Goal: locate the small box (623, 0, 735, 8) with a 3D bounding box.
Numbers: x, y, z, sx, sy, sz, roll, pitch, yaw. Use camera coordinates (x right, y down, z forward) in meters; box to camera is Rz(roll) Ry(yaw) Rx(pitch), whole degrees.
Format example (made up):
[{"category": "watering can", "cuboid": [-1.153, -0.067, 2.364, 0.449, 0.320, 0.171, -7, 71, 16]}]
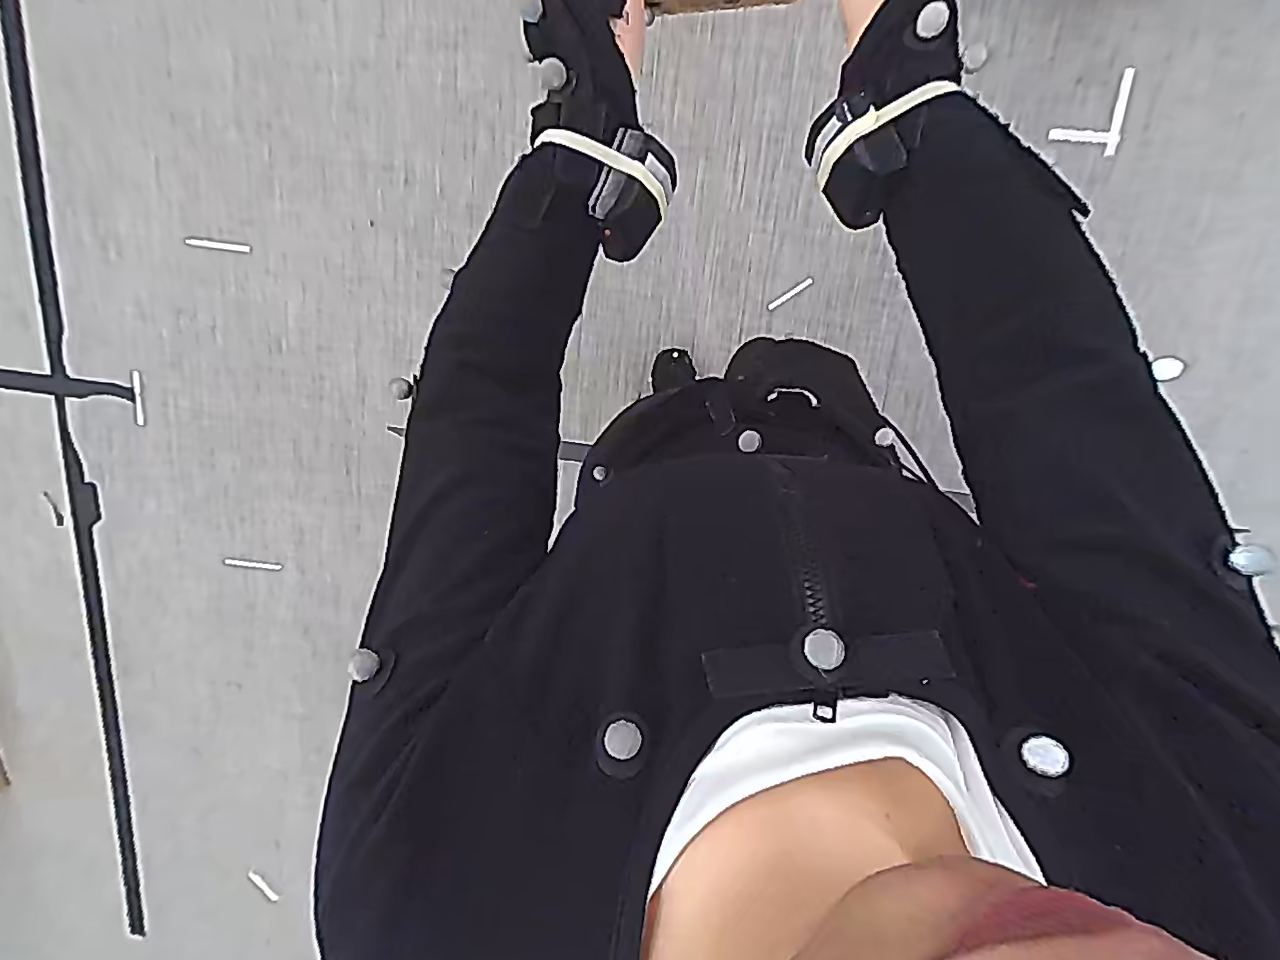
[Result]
[{"category": "small box", "cuboid": [0.047, -0.457, 0.364, 0.168, 0.176, 0.179, -5, 111, 1]}]
